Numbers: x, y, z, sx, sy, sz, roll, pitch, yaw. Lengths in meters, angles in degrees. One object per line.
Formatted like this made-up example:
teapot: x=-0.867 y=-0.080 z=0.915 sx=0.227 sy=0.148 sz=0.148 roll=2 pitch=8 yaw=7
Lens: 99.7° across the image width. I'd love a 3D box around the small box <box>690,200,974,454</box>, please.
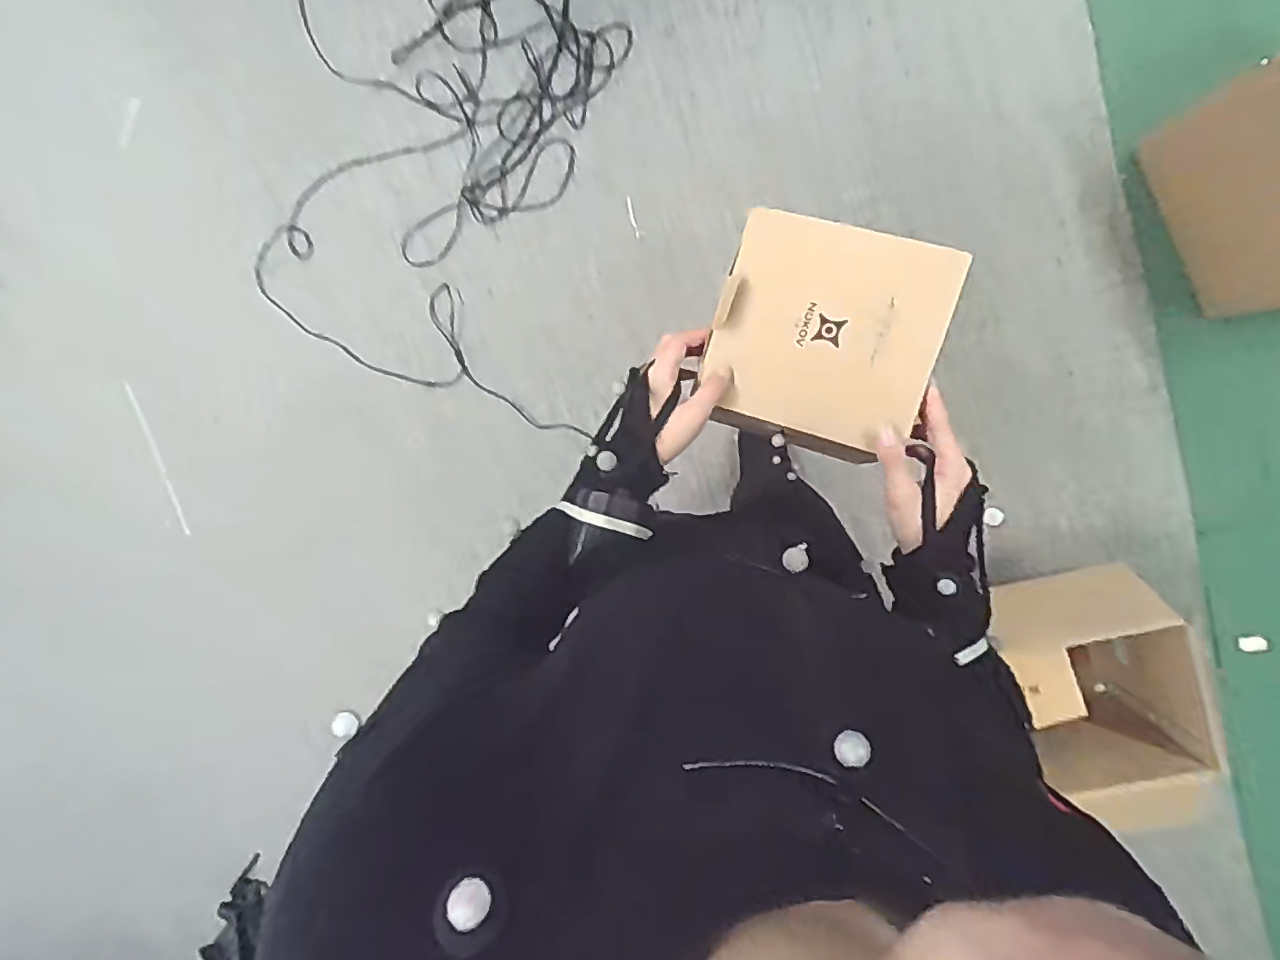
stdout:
small box: x=0.160 y=-0.123 z=0.499 sx=0.179 sy=0.176 sz=0.168 roll=17 pitch=94 yaw=11
